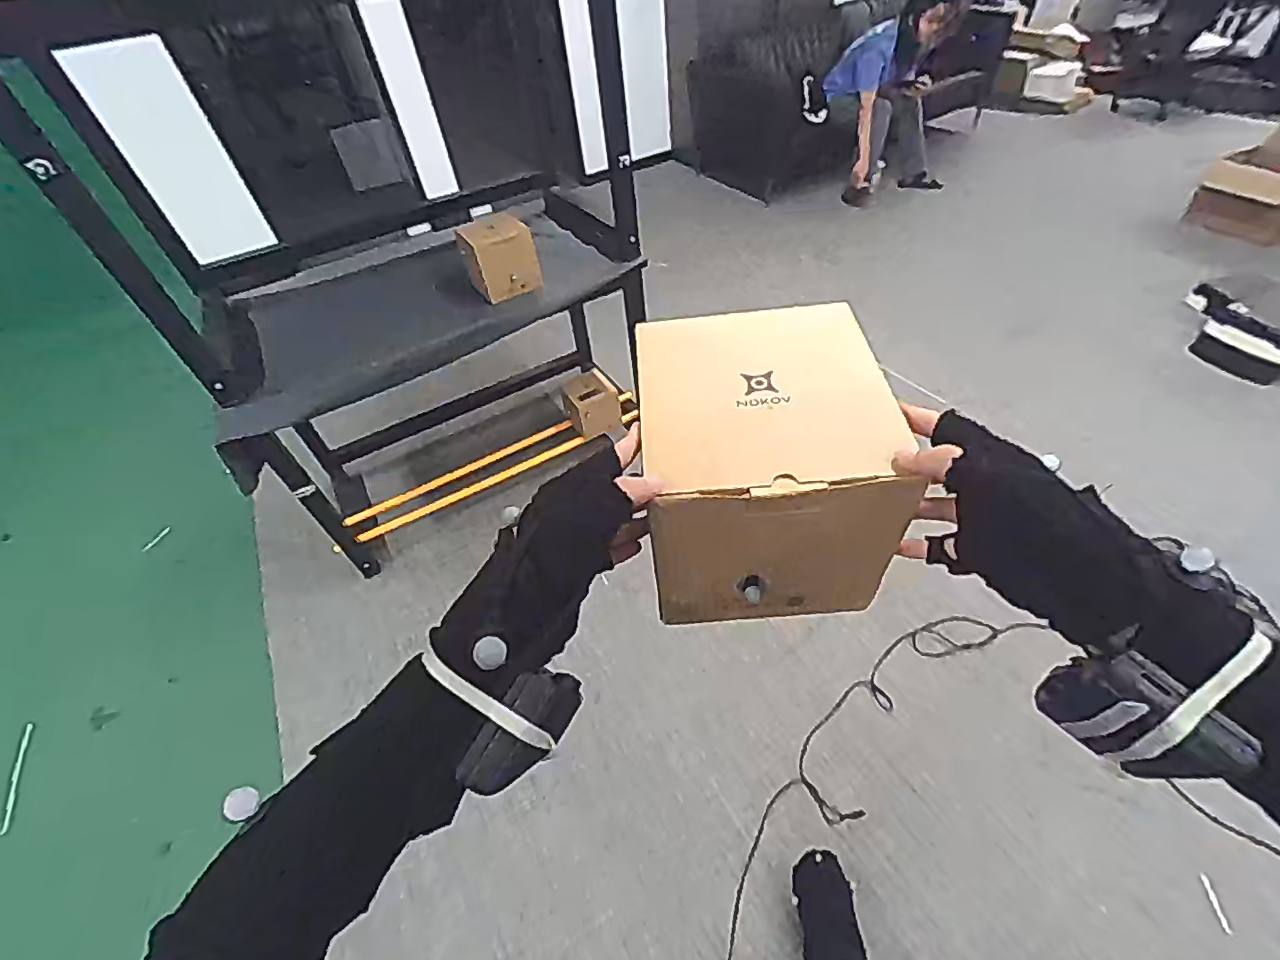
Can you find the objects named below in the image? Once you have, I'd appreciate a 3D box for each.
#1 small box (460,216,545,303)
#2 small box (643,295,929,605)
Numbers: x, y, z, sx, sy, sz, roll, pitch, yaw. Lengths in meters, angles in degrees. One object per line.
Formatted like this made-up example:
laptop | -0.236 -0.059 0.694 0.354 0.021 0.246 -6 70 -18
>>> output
small box | -0.397 -0.638 1.570 0.168 0.176 0.179 -28 49 -17
small box | 0.092 -0.021 0.433 0.168 0.176 0.179 -6 50 2
